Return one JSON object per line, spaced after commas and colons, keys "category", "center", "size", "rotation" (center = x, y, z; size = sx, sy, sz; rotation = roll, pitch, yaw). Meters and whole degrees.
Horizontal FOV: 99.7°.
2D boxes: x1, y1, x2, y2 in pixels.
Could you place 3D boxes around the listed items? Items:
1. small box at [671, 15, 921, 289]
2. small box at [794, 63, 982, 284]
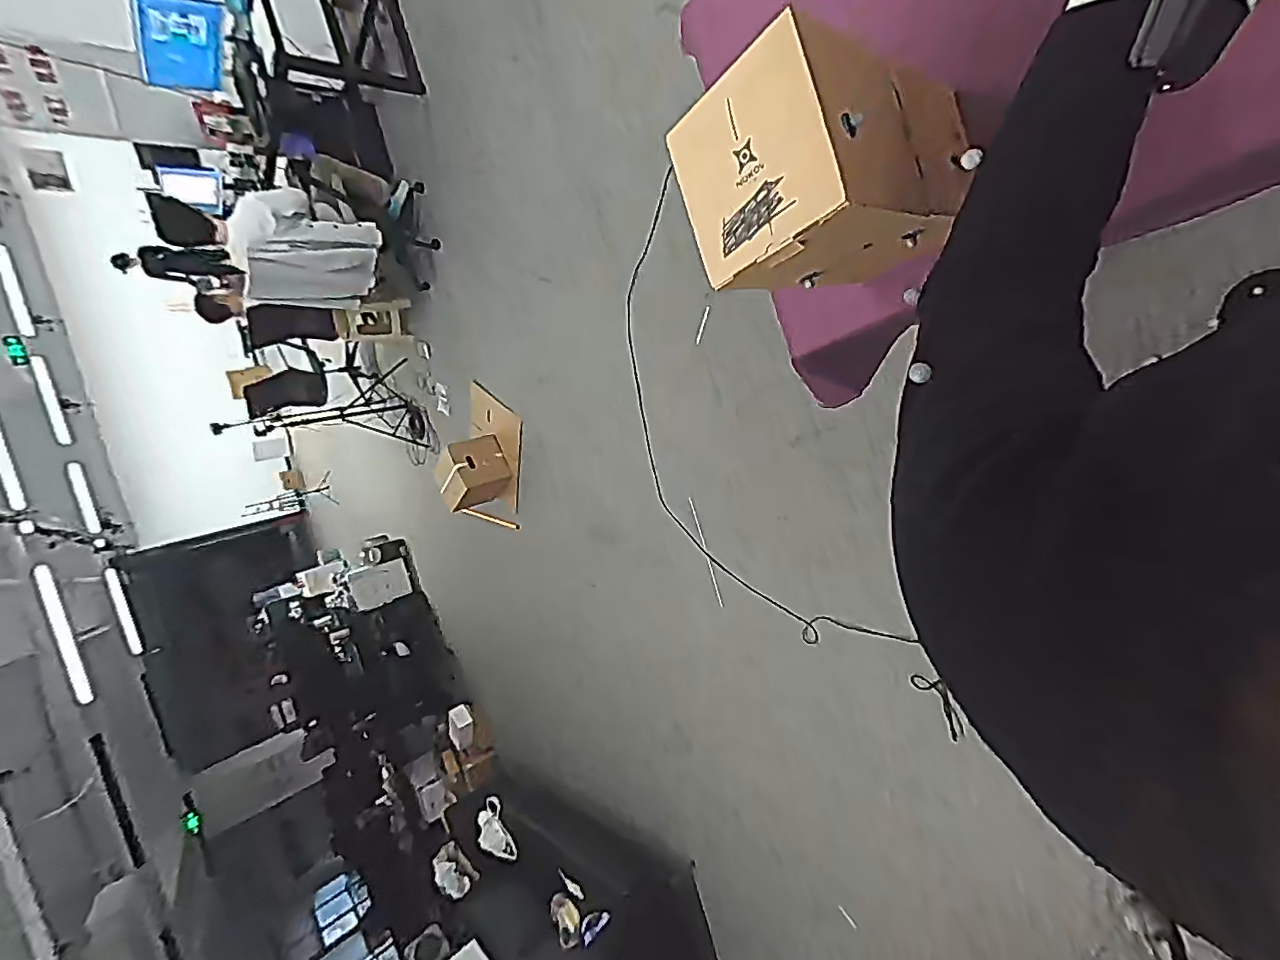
{"category": "small box", "center": [0.166, -0.320, 0.571], "size": [0.168, 0.176, 0.179], "rotation": [-17, 90, 50]}
{"category": "small box", "center": [0.287, -0.358, 0.675], "size": [0.179, 0.176, 0.168], "rotation": [-17, 91, 50]}
